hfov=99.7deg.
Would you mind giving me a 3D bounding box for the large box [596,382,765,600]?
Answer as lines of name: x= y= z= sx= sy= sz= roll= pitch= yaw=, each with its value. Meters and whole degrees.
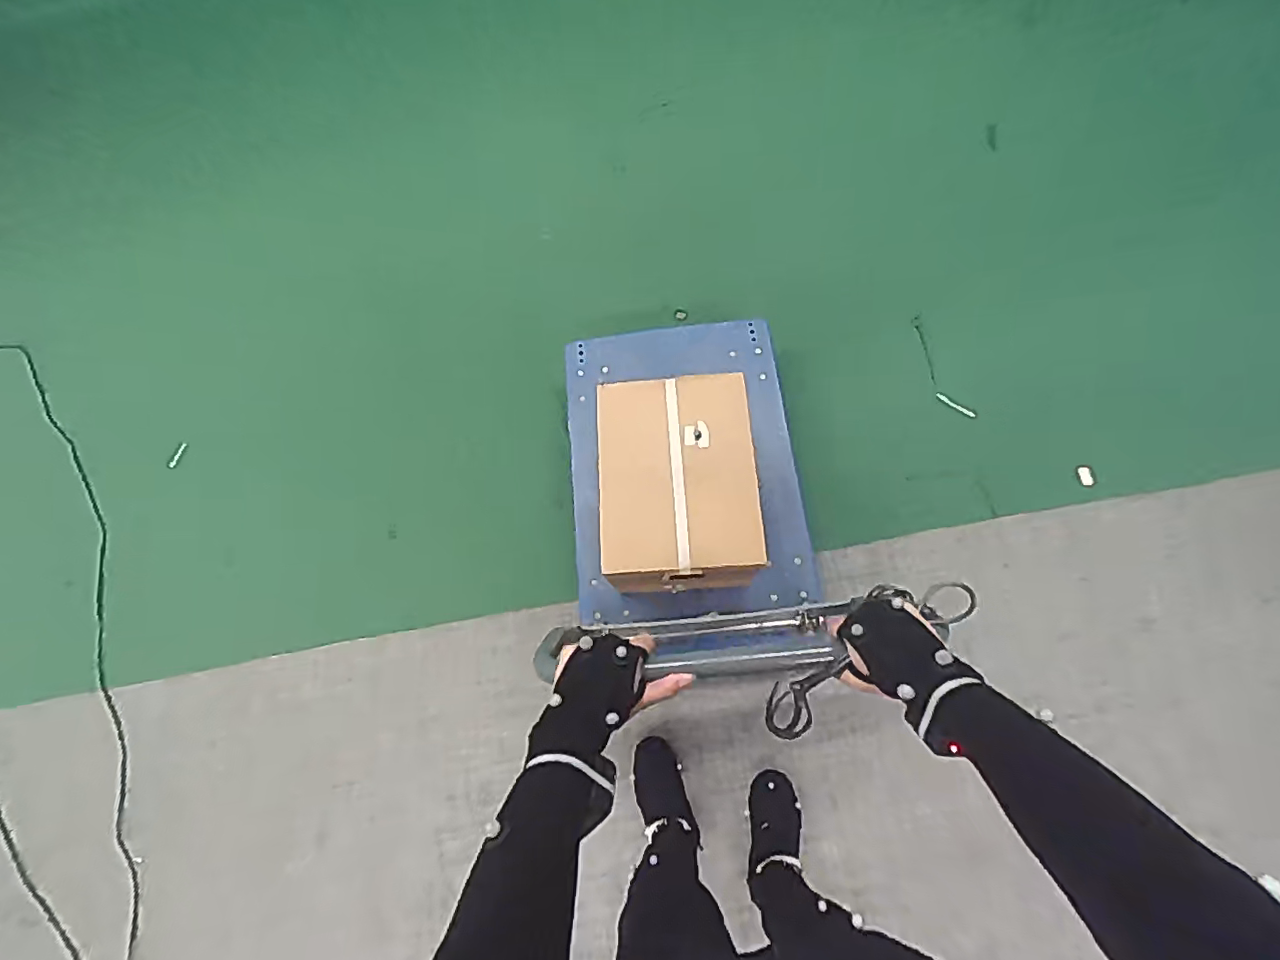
large box: x=0.082 y=0.042 z=1.218 sx=0.320 sy=0.320 sz=0.408 roll=-4 pitch=71 yaw=3
